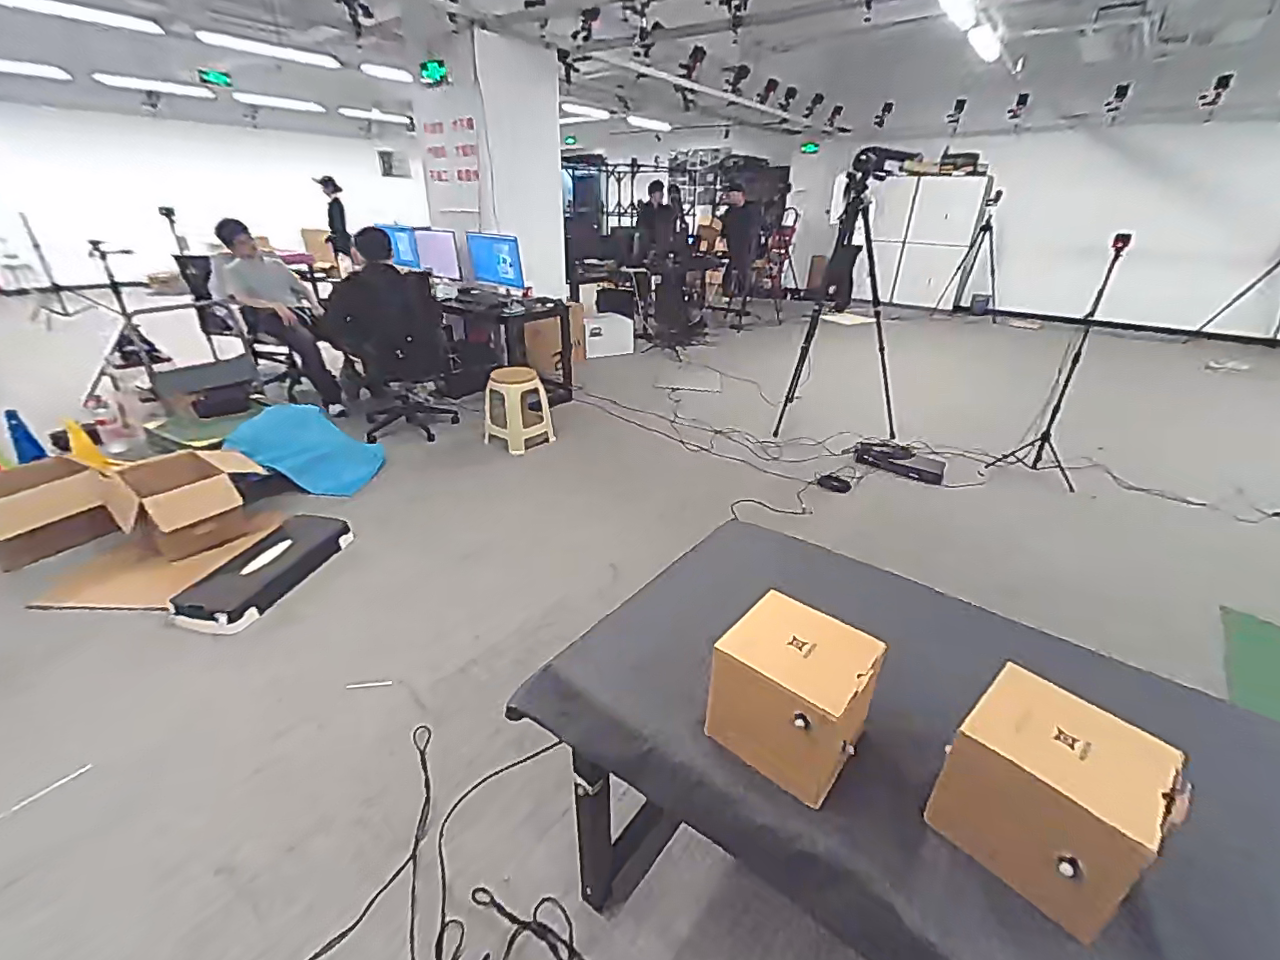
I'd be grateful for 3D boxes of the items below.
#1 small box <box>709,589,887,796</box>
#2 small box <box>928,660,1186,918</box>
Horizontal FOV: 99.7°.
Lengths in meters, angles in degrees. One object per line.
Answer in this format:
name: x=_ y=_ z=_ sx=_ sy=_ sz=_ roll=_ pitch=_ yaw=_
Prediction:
small box: x=0.212 y=0.289 z=0.754 sx=0.179 sy=0.176 sz=0.168 roll=22 pitch=32 yaw=35
small box: x=0.473 y=0.356 z=0.630 sx=0.168 sy=0.176 sz=0.179 roll=-20 pitch=32 yaw=-37
